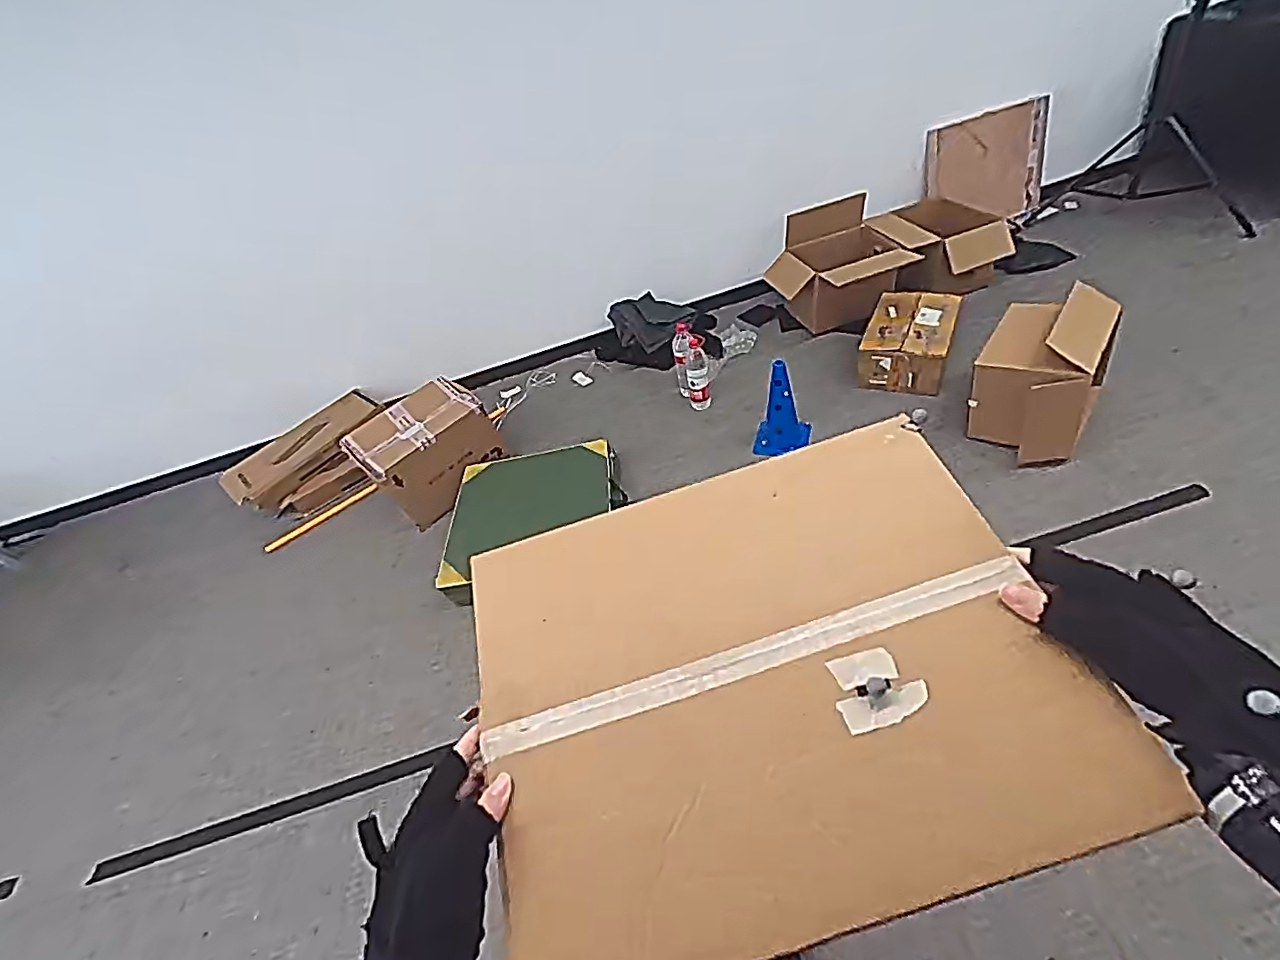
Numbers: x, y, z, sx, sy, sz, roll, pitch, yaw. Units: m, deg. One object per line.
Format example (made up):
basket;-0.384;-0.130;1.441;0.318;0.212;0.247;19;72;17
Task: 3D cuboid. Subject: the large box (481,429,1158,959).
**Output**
large box;0.109;0.216;0.525;0.408;0.320;0.320;-19;56;-1
